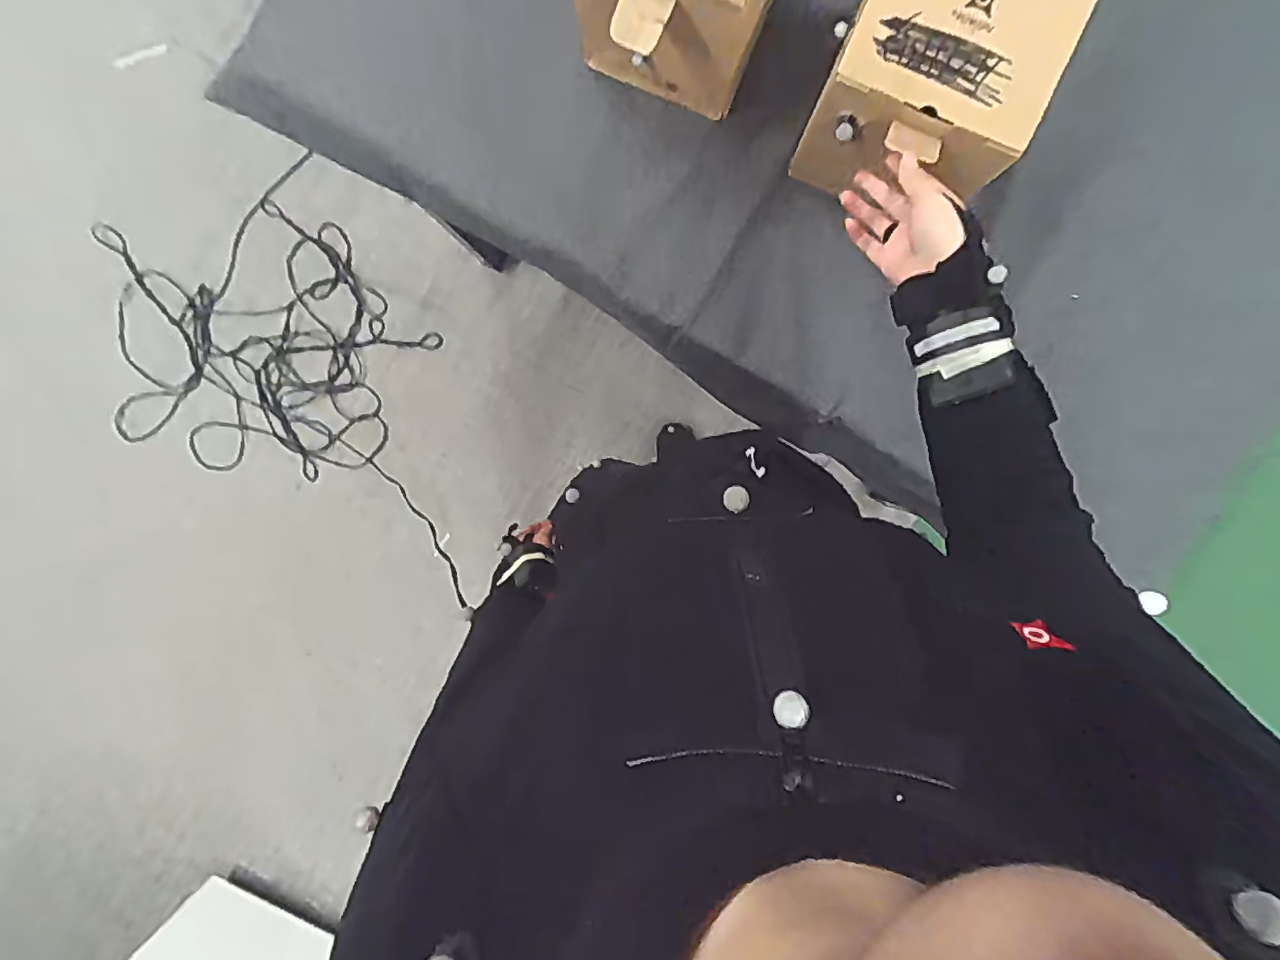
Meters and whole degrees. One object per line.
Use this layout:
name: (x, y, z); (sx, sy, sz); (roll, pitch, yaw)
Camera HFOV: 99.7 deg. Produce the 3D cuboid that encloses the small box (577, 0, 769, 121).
small box: (0.041, -0.490, 0.503); (0.168, 0.176, 0.179); (22, 96, 0)
